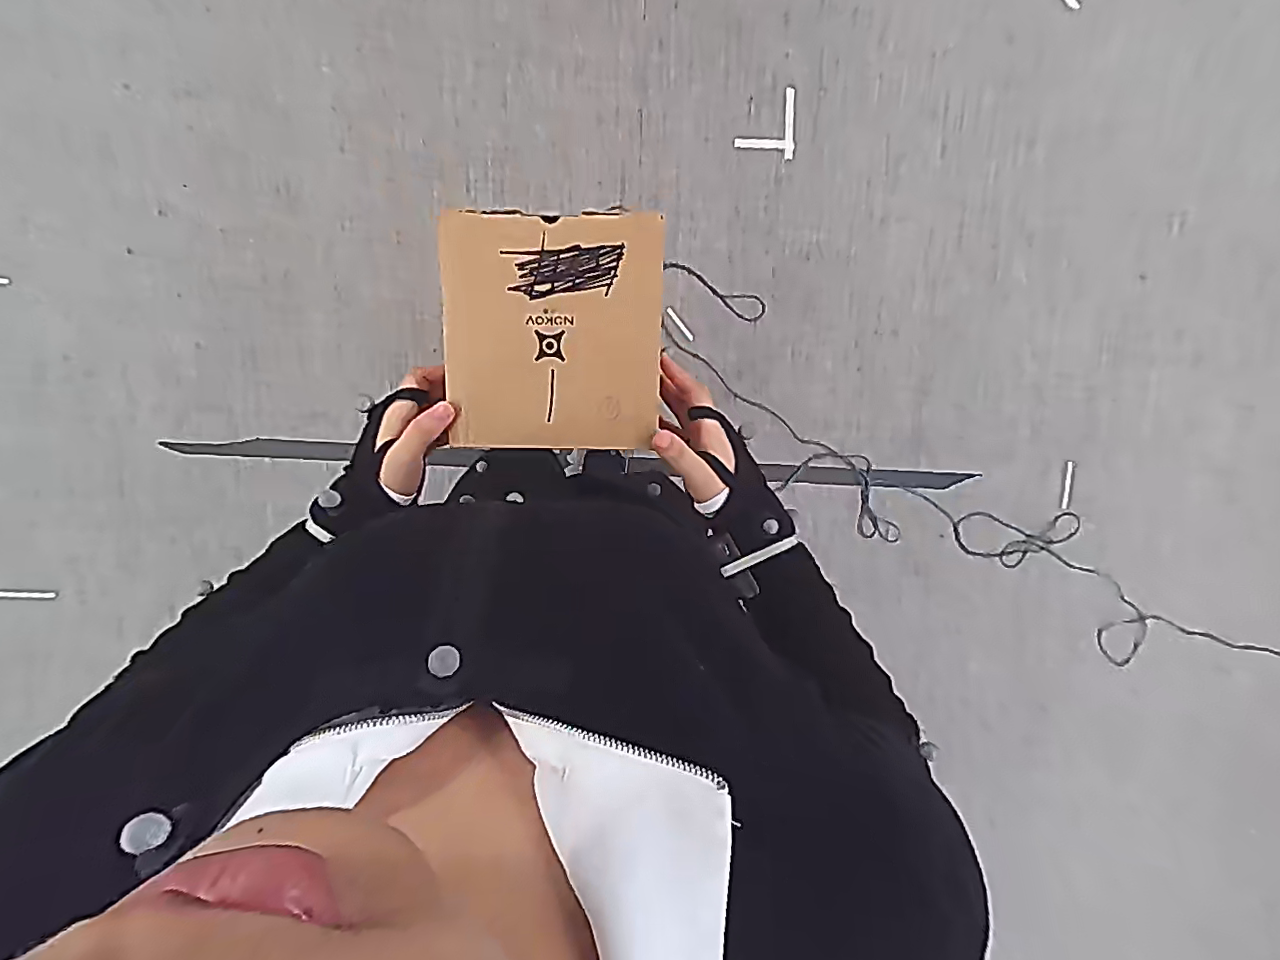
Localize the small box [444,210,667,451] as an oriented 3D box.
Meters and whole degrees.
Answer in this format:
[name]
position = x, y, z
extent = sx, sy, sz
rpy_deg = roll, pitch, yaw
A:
[small box]
position = -0.064, -0.121, 0.484
extent = 0.168, 0.176, 0.179
rpy_deg = 1, 99, 1
